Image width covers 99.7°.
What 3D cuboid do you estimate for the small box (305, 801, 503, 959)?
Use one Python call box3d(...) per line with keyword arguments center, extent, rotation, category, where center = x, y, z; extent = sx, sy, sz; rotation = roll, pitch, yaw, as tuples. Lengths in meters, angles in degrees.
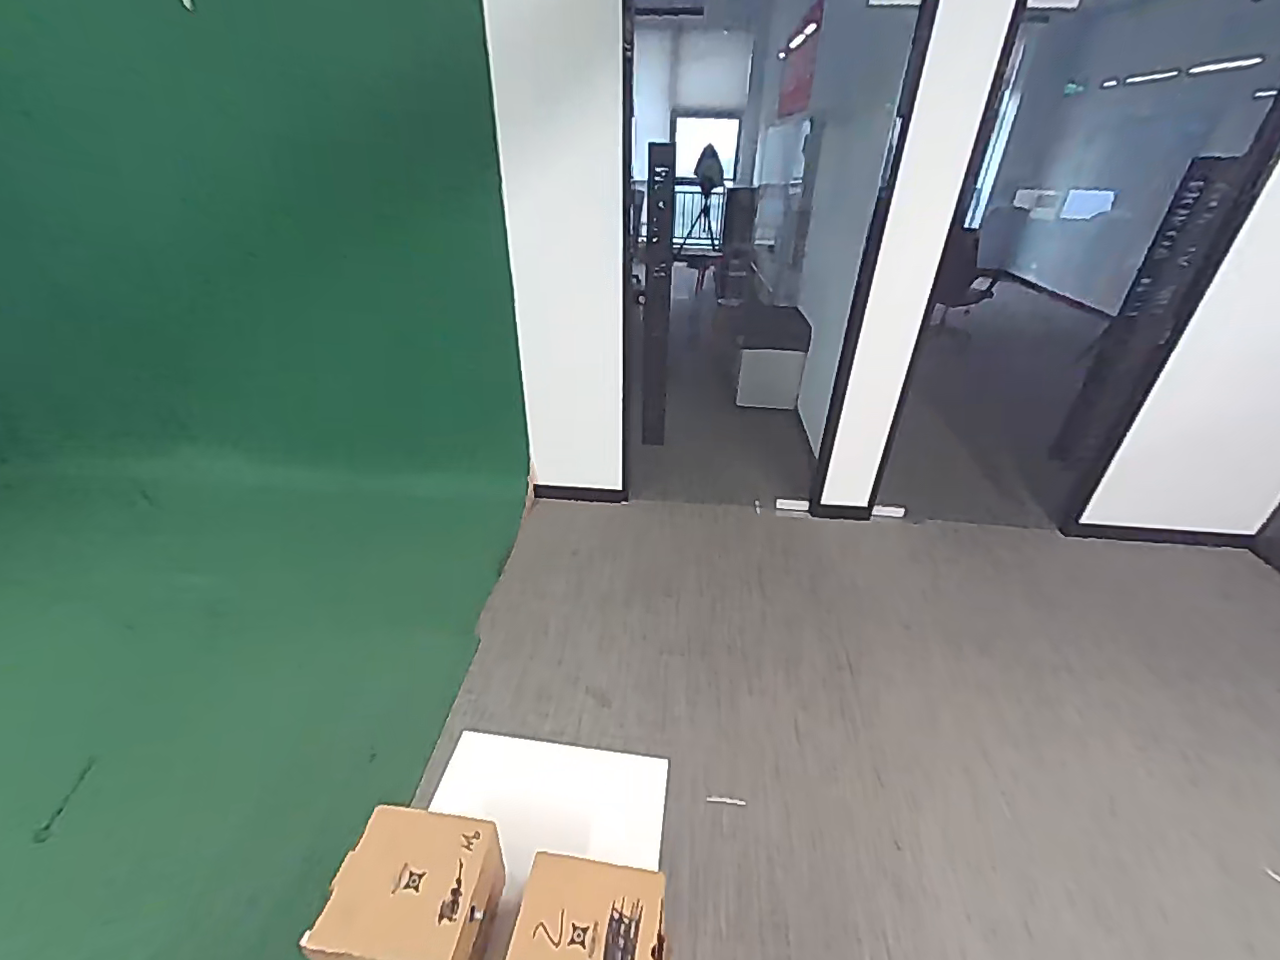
box3d(center=(-0.299, 0.571, 0.729), extent=(0.179, 0.176, 0.168), rotation=(6, 32, 5), category="small box")
